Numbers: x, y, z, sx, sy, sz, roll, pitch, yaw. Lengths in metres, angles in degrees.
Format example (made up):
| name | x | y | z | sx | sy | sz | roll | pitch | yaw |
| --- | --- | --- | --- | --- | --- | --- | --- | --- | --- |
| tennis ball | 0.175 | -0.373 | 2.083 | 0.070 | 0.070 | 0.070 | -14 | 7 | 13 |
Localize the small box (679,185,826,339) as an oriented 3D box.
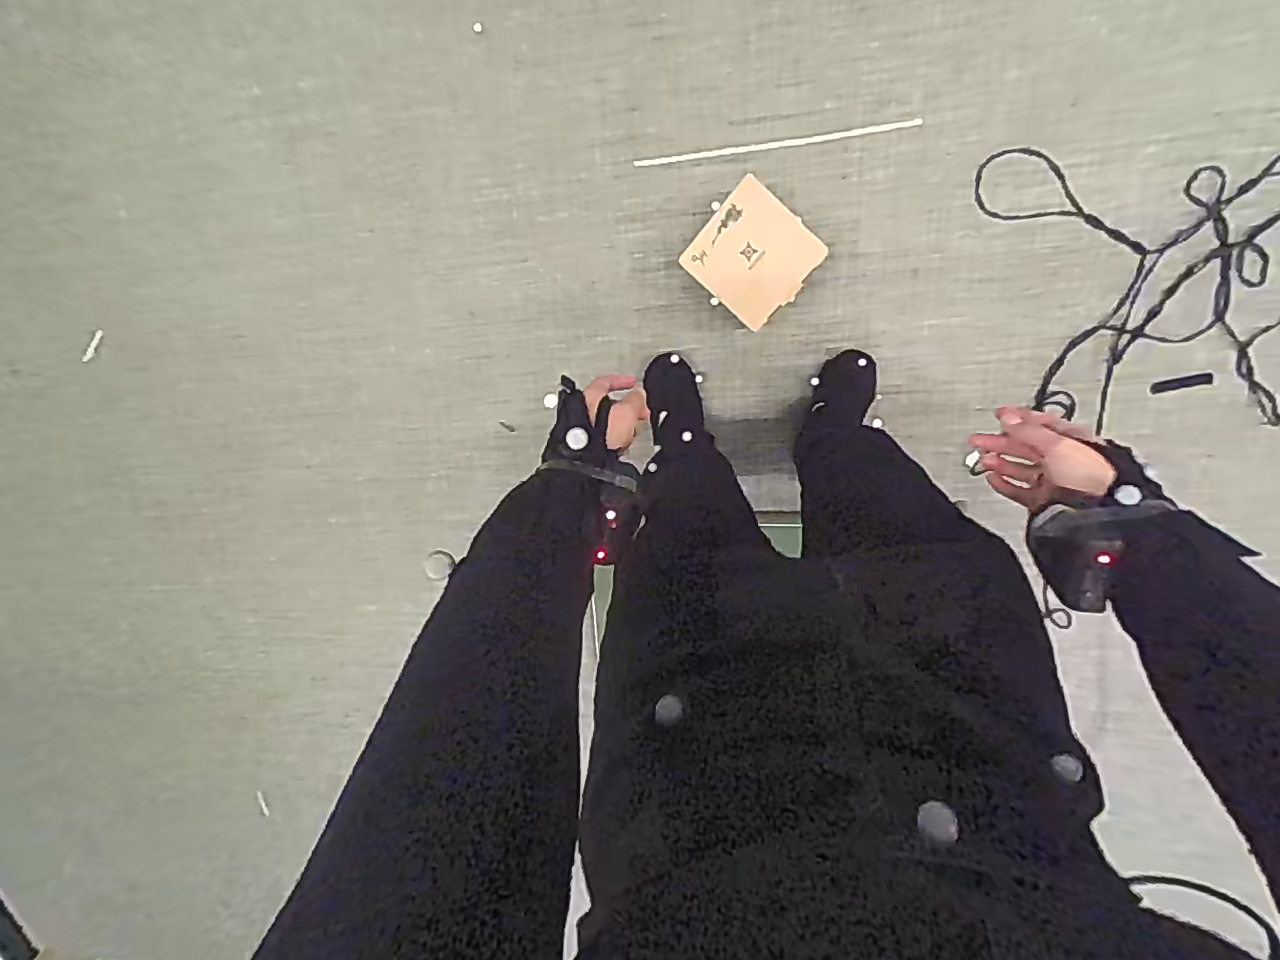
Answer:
| name | x | y | z | sx | sy | sz | roll | pitch | yaw |
| --- | --- | --- | --- | --- | --- | --- | --- | --- | --- |
| small box | 0.191 | -0.372 | 0.937 | 0.179 | 0.176 | 0.168 | 41 | 110 | -6 |
